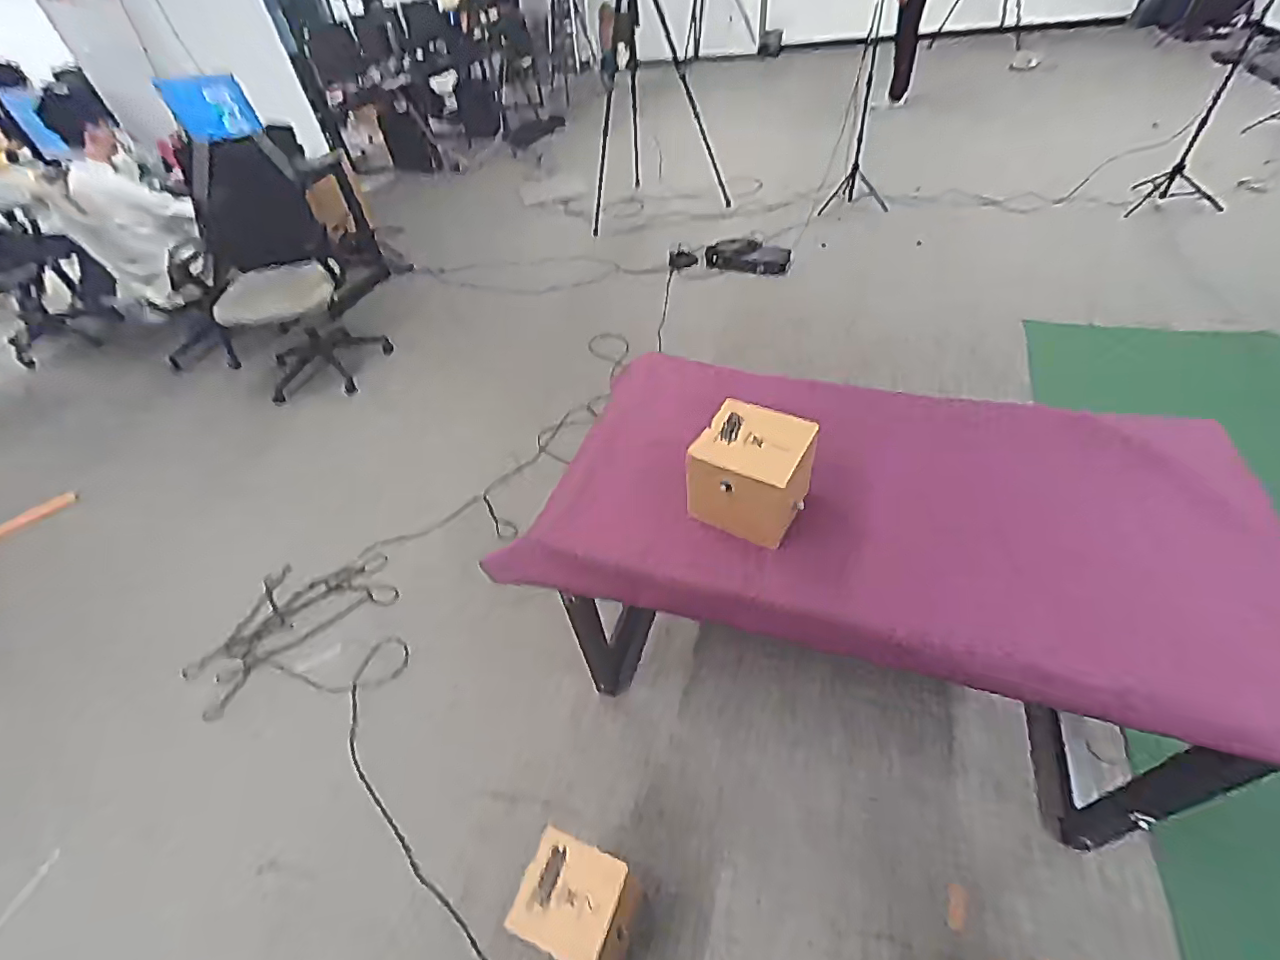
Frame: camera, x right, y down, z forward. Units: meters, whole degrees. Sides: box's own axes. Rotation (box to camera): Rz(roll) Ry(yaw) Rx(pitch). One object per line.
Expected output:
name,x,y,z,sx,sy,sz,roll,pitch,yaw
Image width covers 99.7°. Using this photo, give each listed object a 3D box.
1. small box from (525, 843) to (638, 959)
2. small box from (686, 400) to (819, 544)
small box,-0.112,0.909,1.139,0.168,0.176,0.179,13,50,19
small box,0.197,-0.012,0.972,0.179,0.176,0.168,22,53,25
